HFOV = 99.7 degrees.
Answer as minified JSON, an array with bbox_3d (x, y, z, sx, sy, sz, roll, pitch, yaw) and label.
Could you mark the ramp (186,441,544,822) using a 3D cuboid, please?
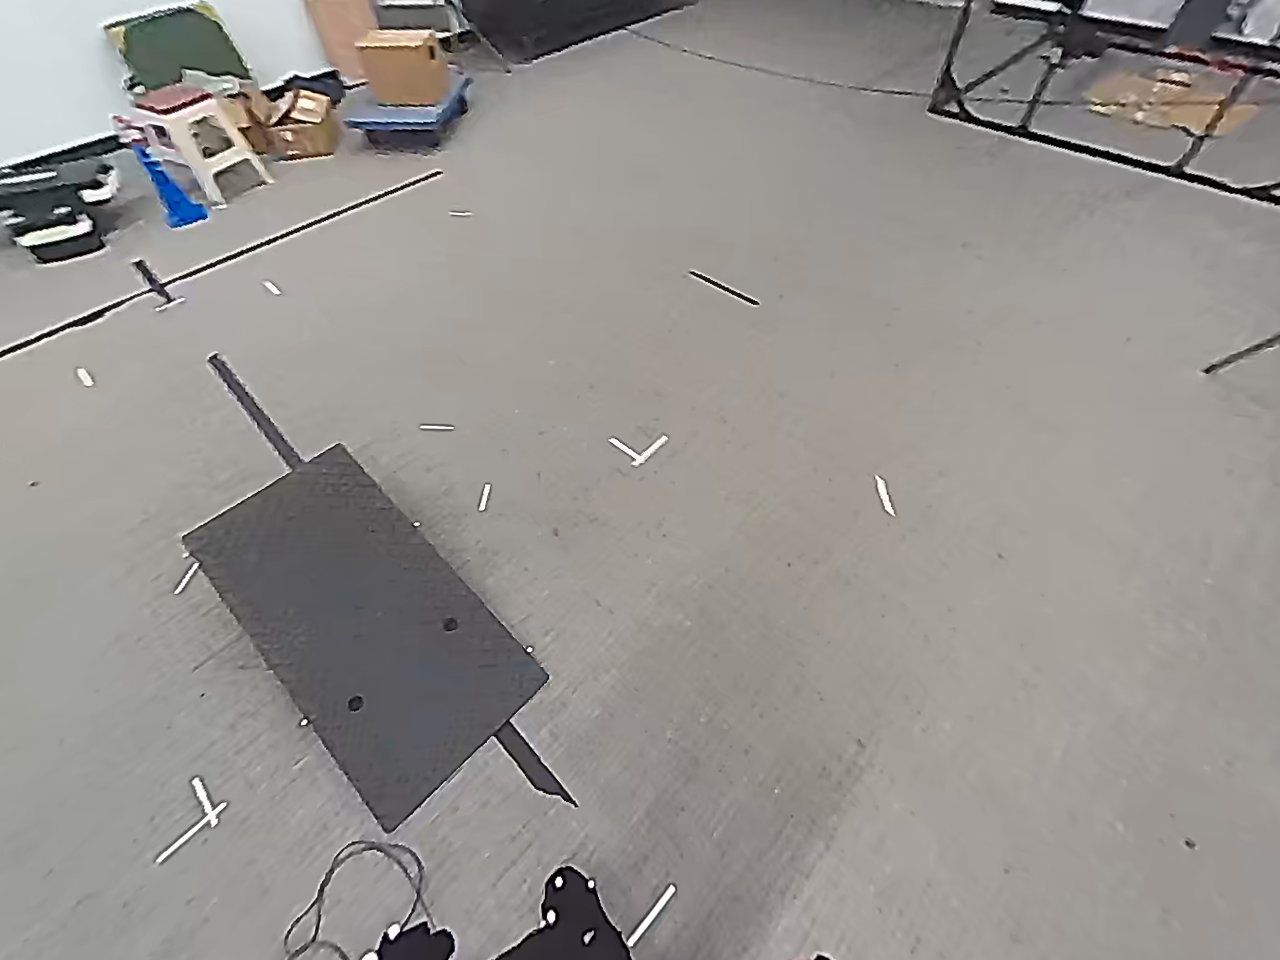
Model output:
[{"bbox_3d":[-0.765,0.336,1.491,0.991,0.206,0.509,36,61,25],"label":"ramp"}]
